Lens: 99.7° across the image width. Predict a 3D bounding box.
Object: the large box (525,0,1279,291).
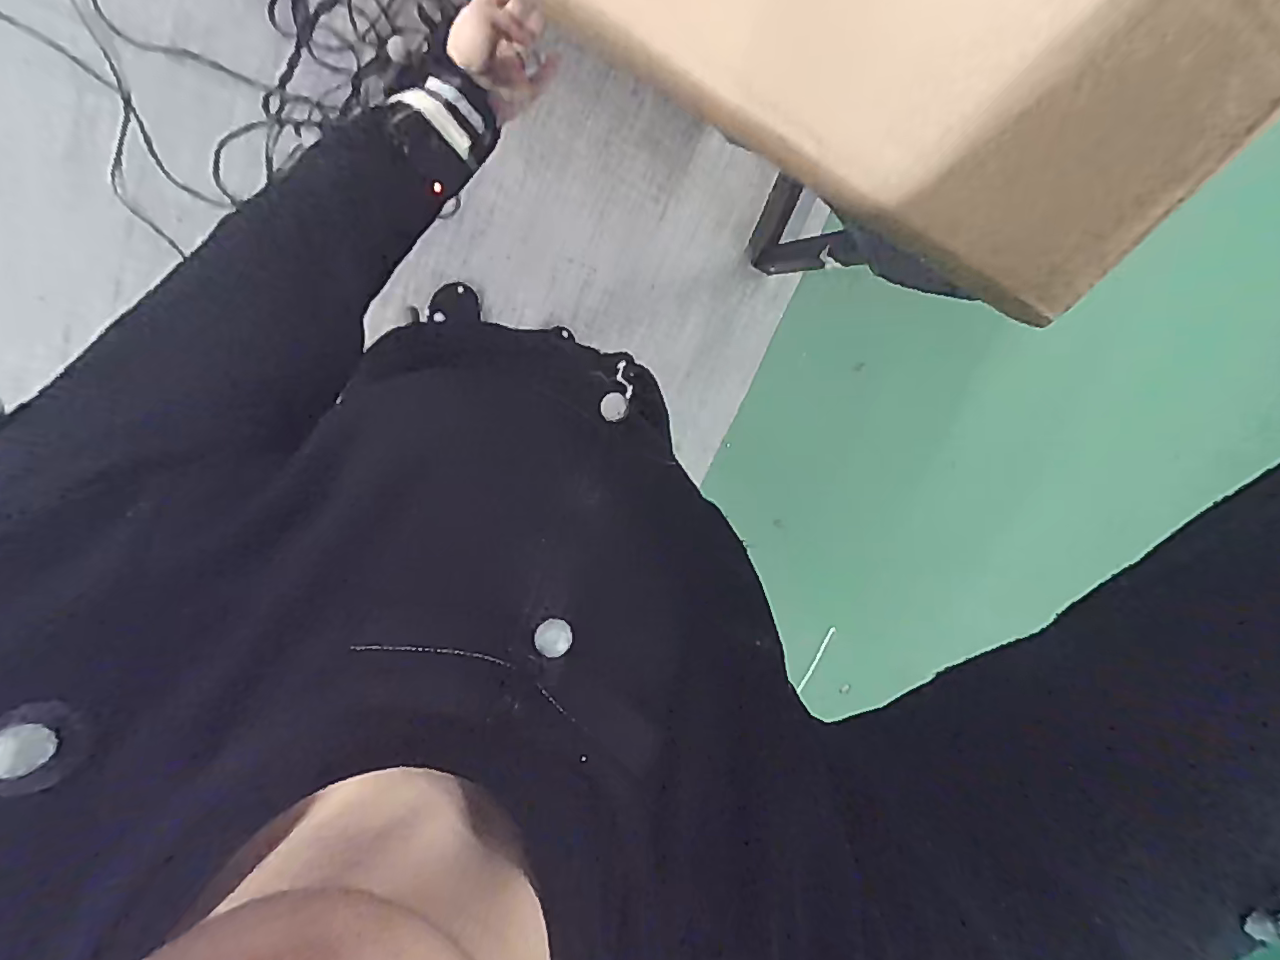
[{"bbox_3d":[0.104,-0.363,0.261,0.320,0.408,0.320,18,127,-21],"label":"large box"}]
